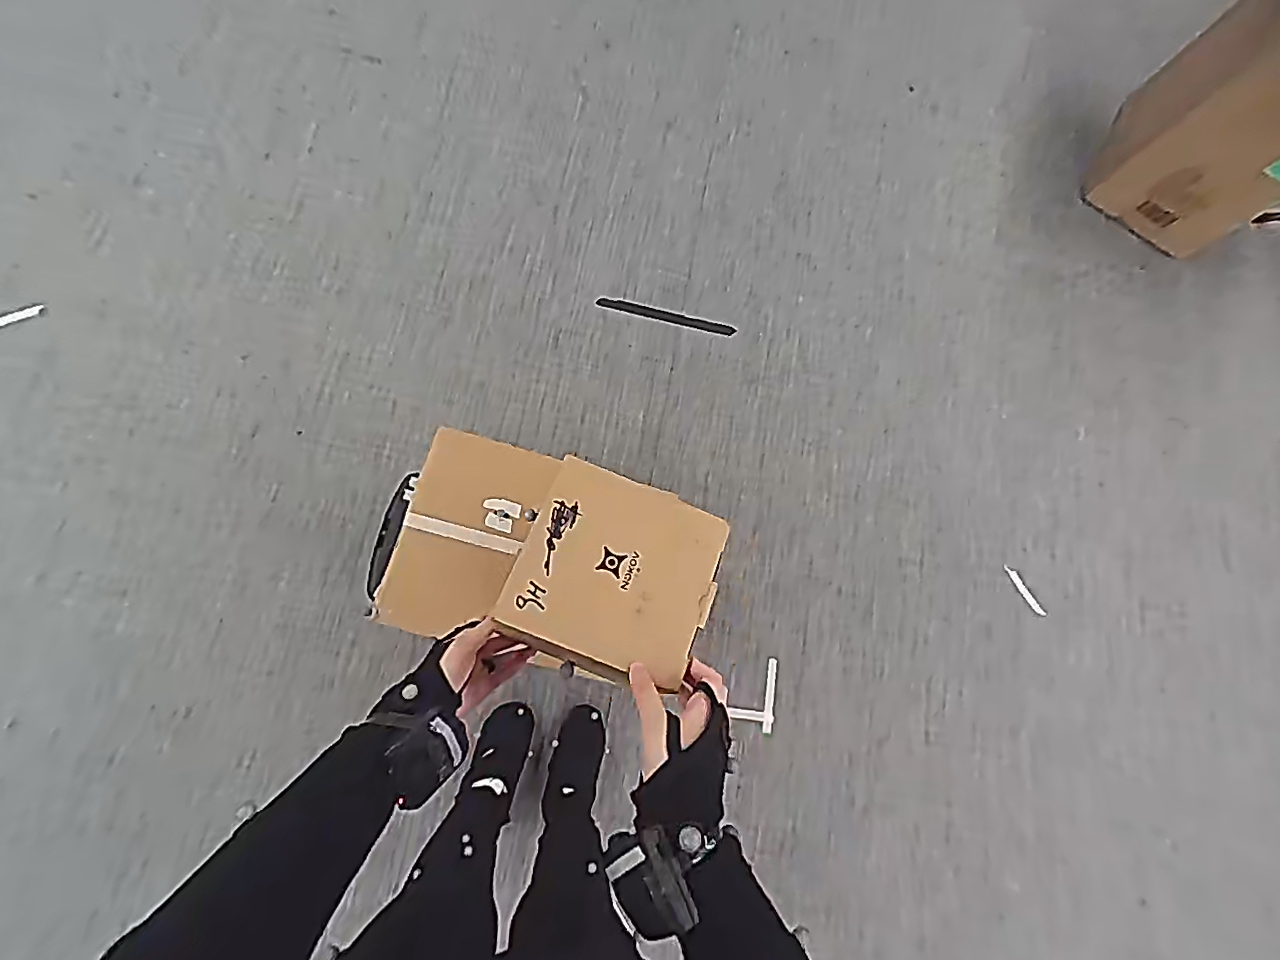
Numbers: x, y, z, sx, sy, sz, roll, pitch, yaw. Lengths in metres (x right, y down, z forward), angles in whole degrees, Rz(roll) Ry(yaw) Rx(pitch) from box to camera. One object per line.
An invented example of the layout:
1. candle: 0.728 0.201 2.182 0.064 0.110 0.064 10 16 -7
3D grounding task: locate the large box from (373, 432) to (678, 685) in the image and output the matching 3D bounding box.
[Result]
1. large box: -0.180 0.147 0.975 0.408 0.320 0.320 16 75 -4

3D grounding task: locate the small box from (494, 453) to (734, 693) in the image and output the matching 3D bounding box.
1. small box: -0.033 0.103 0.555 0.179 0.176 0.168 24 66 -4
